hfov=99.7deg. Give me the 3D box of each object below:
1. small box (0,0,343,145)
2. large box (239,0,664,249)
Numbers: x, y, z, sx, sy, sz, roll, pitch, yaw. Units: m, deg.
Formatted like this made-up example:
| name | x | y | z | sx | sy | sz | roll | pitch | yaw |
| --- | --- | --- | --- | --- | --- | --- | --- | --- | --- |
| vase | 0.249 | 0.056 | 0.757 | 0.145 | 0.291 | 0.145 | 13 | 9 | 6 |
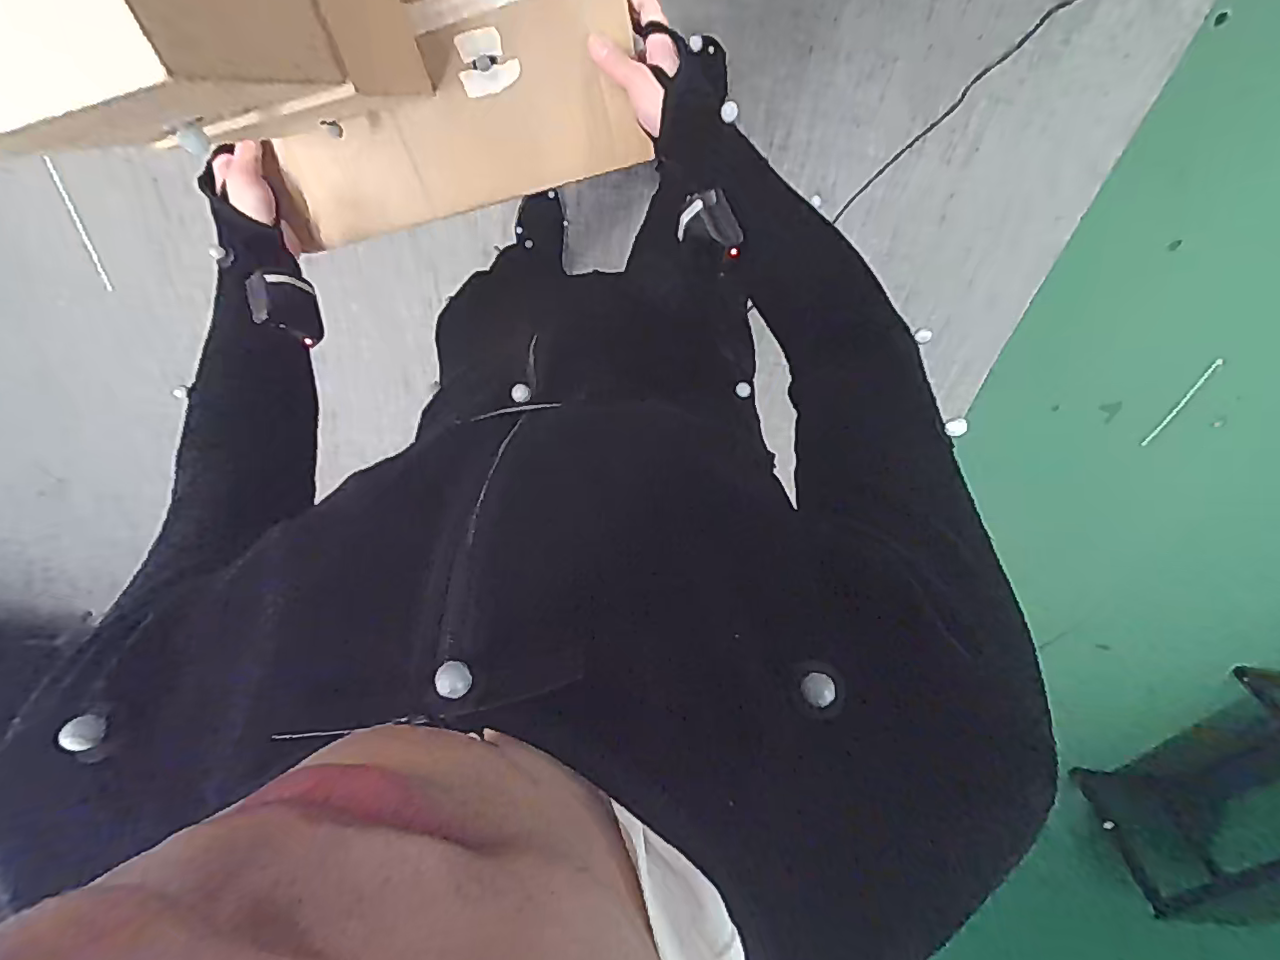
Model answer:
| name | x | y | z | sx | sy | sz | roll | pitch | yaw |
| --- | --- | --- | --- | --- | --- | --- | --- | --- | --- |
| small box | -0.291 | -0.279 | 0.262 | 0.168 | 0.176 | 0.179 | -10 | 125 | 8 |
| large box | -0.206 | -0.501 | 0.606 | 0.408 | 0.320 | 0.320 | -12 | 125 | 8 |
